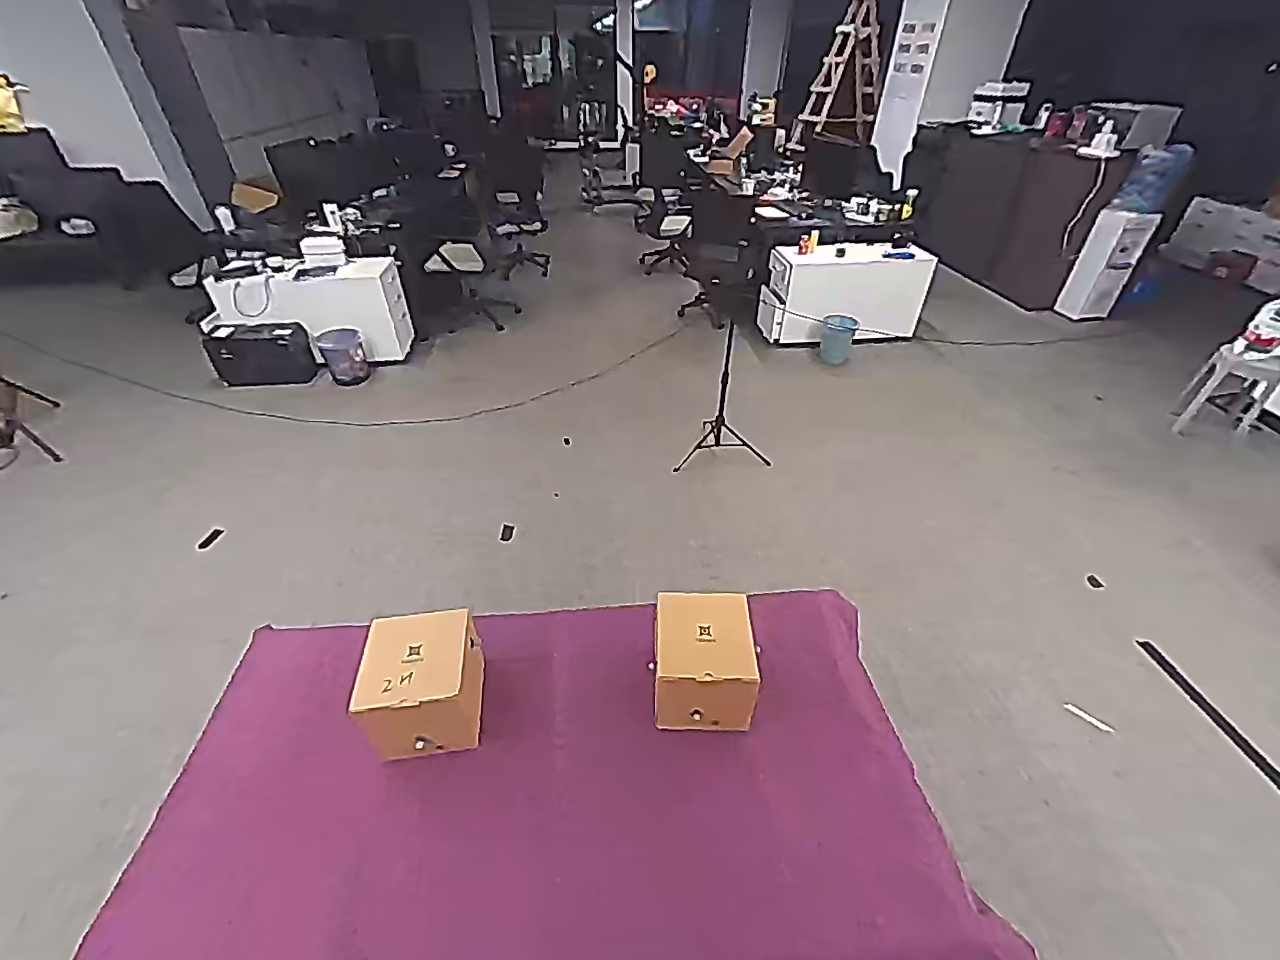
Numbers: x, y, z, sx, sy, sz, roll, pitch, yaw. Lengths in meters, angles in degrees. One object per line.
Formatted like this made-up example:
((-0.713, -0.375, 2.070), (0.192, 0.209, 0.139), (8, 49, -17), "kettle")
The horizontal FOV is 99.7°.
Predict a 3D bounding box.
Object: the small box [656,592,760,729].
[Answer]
((0.113, 0.325, 0.982), (0.168, 0.176, 0.179), (0, 39, 1), "small box")

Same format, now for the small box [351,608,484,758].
((-0.373, 0.351, 0.944), (0.168, 0.176, 0.179), (-5, 39, -7), "small box")
